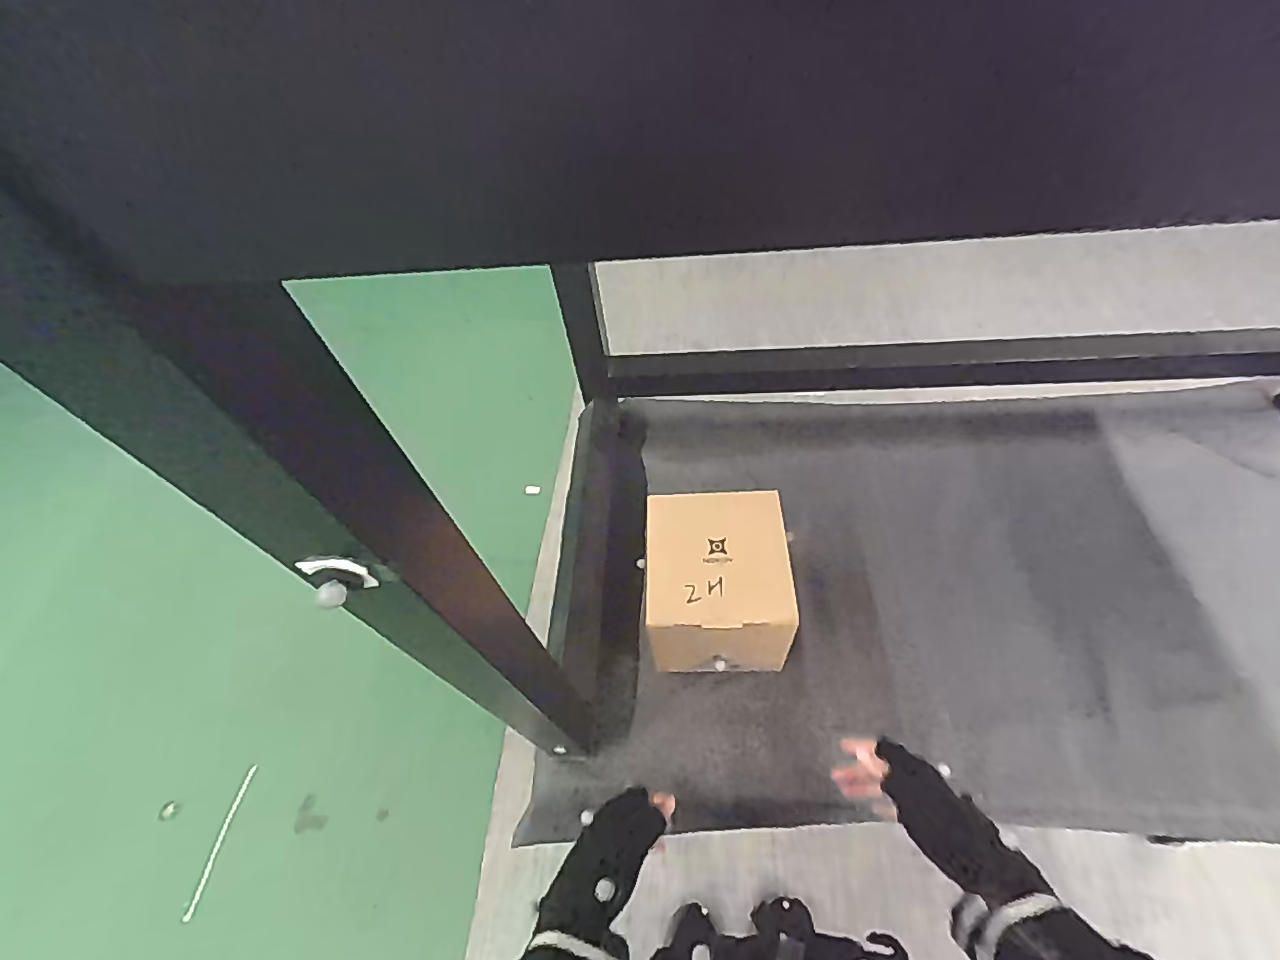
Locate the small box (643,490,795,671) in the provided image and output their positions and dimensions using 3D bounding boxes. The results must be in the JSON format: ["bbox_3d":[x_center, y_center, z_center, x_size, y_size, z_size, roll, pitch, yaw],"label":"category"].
[{"bbox_3d":[0.094,0.131,0.694,0.168,0.176,0.179,-3,54,5],"label":"small box"}]
